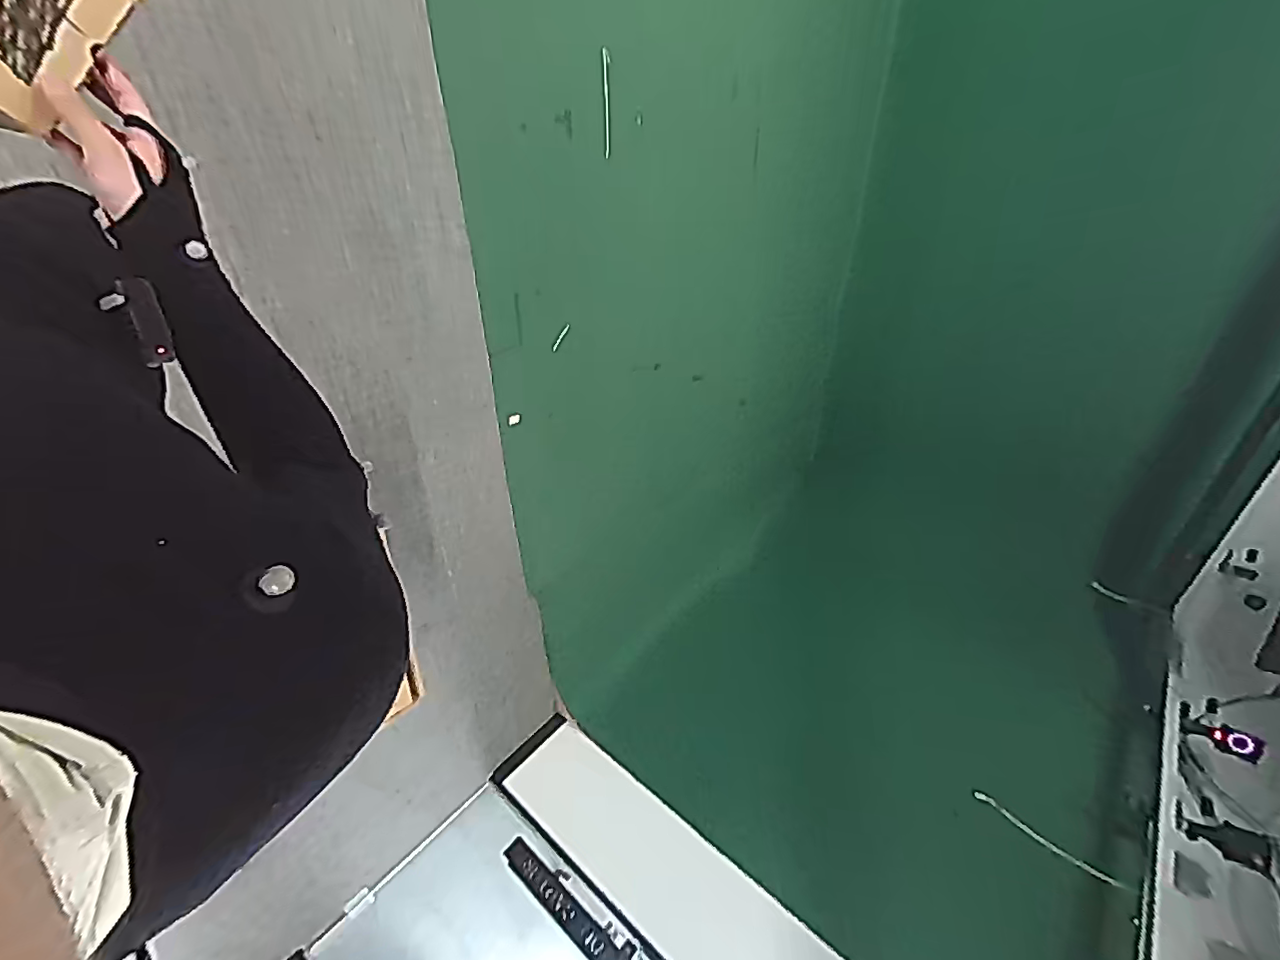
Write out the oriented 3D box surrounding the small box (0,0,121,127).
[{"bbox_3d":[-0.532,-0.400,0.389,0.168,0.176,0.179,-62,151,-4],"label":"small box"}]
